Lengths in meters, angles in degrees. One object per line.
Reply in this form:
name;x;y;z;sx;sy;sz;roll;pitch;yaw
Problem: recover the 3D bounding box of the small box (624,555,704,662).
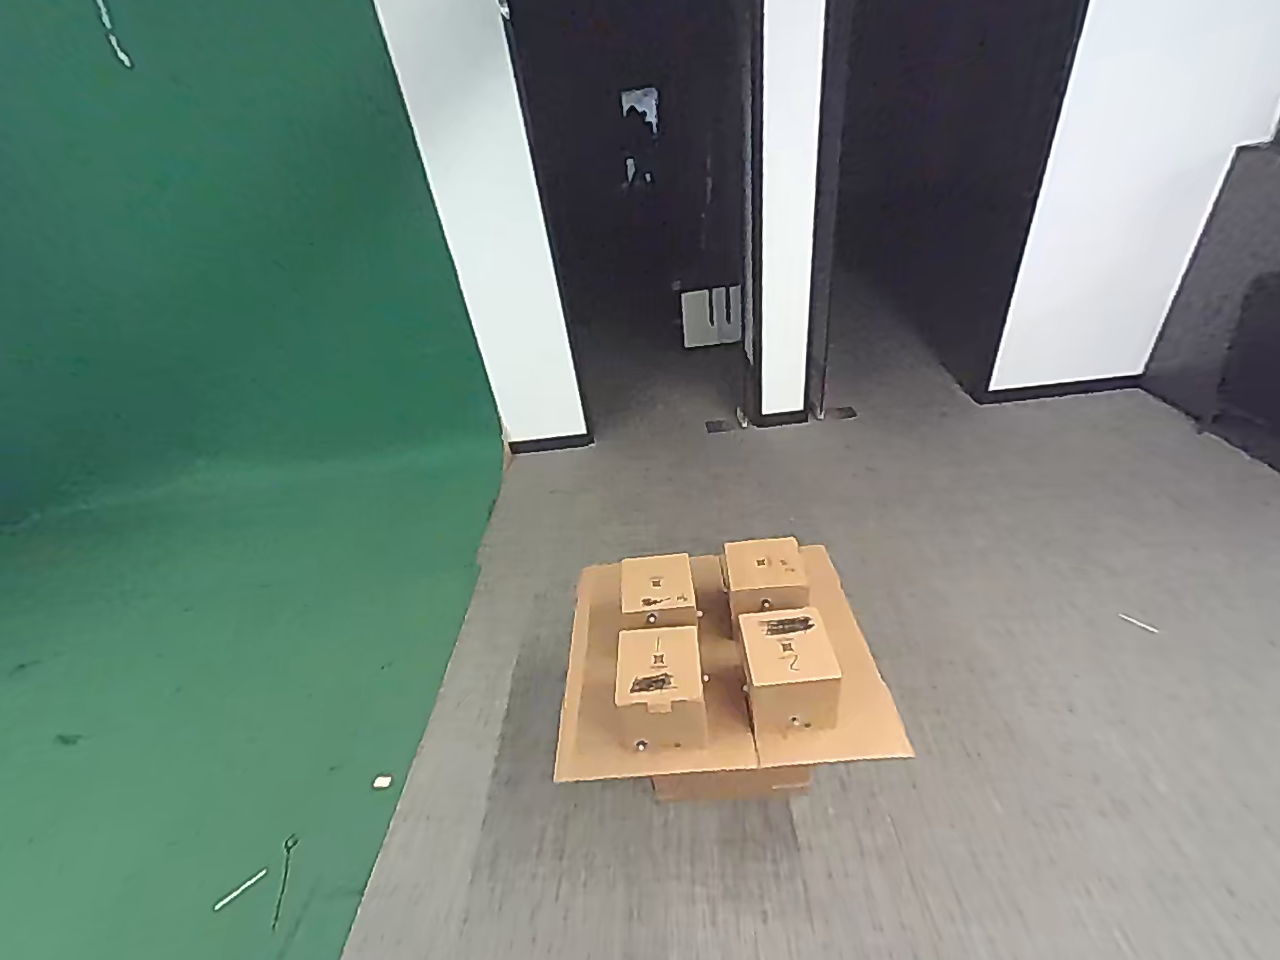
small box;0.057;0.306;1.291;0.168;0.176;0.179;-9;32;4
